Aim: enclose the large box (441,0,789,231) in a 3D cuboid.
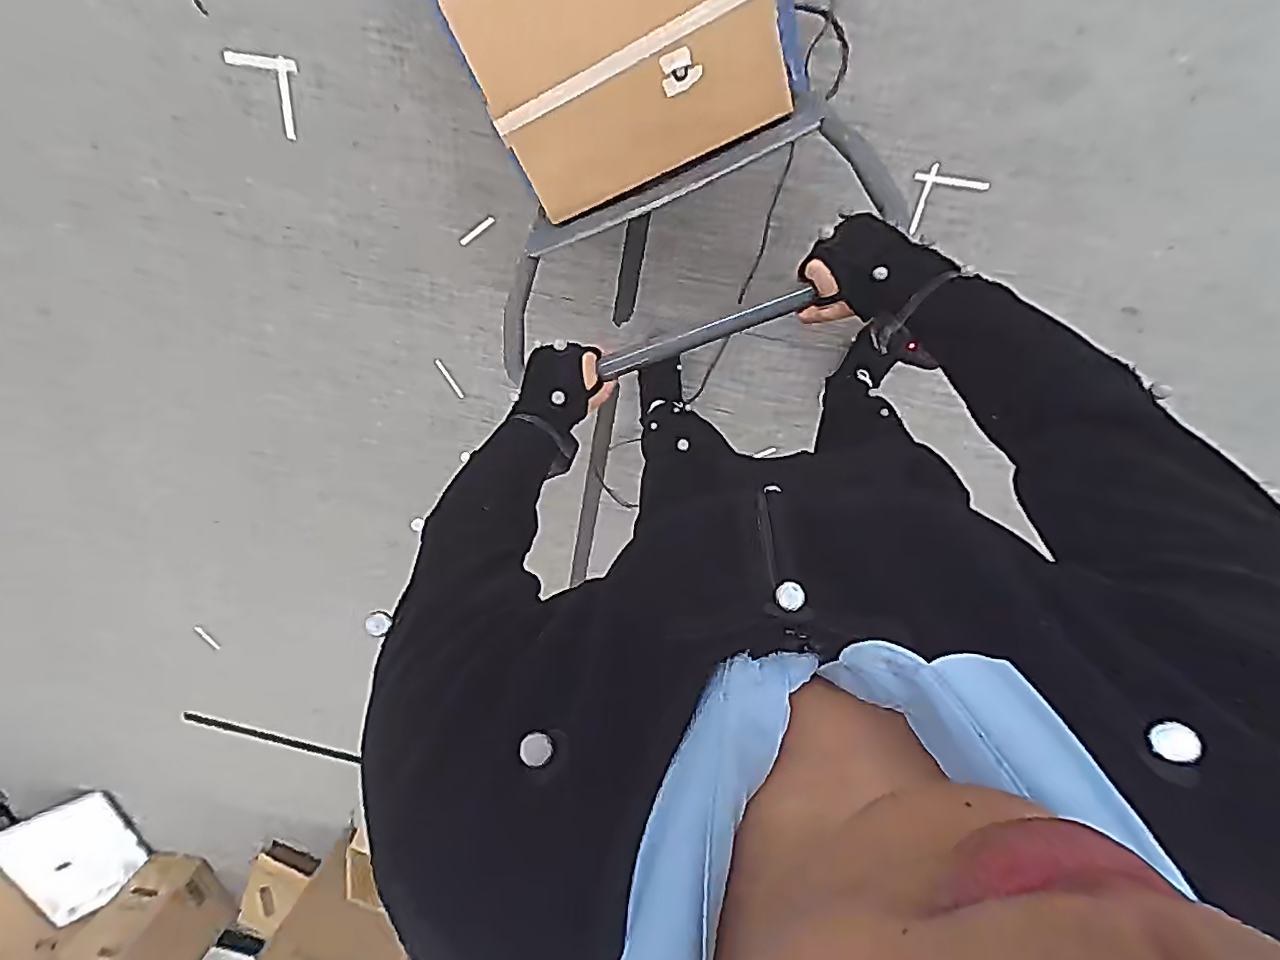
[{"bbox_3d":[-0.026,-0.671,0.857,0.408,0.320,0.320,-19,130,16],"label":"large box"}]
